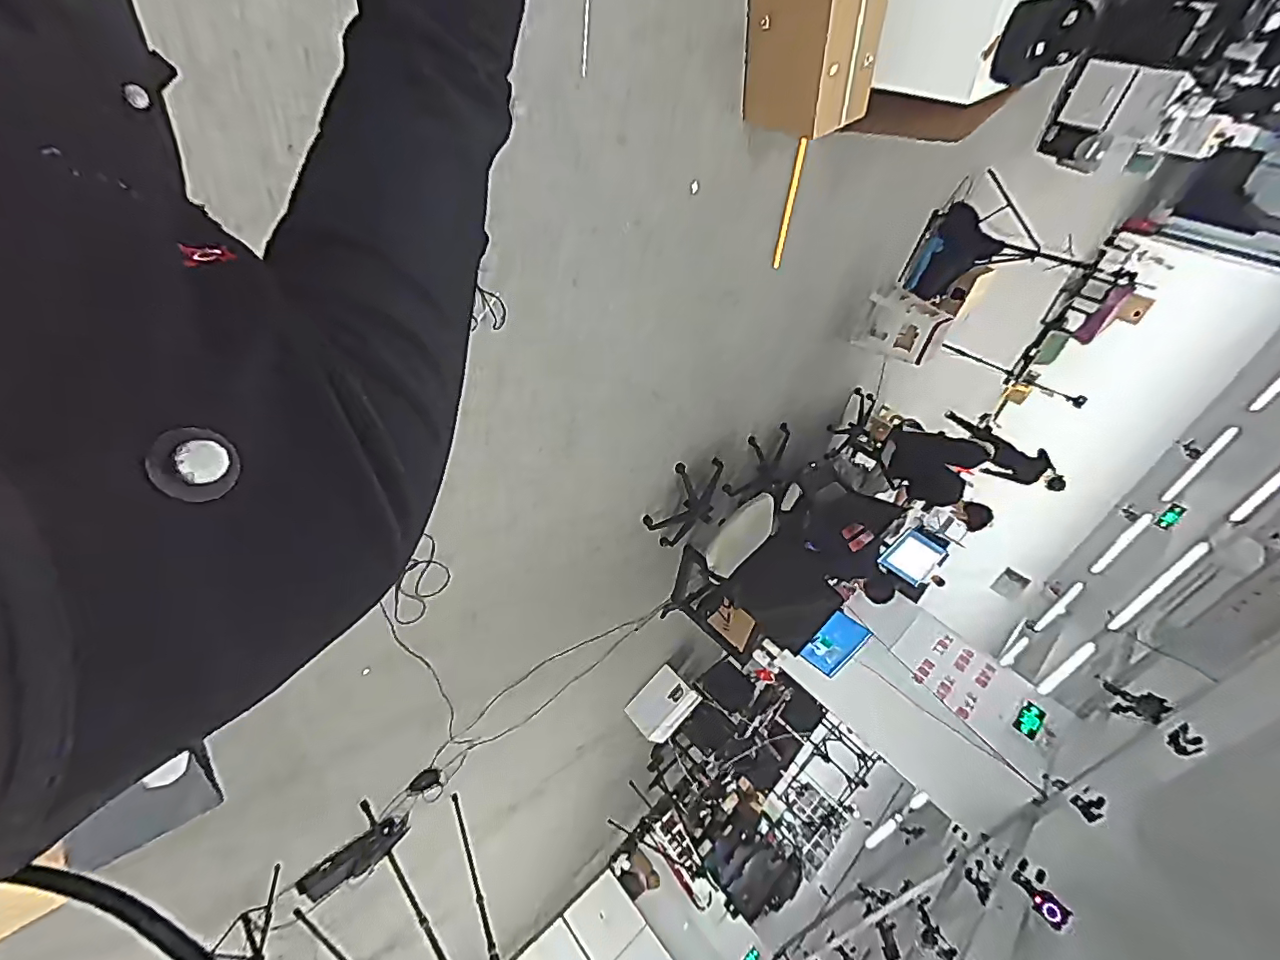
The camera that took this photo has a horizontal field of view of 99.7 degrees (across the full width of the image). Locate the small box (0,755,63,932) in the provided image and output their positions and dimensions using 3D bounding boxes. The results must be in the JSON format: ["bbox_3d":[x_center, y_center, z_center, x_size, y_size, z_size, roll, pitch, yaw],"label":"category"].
[{"bbox_3d":[-0.842,0.452,0.634,0.168,0.176,0.179,-25,142,-35],"label":"small box"}]
